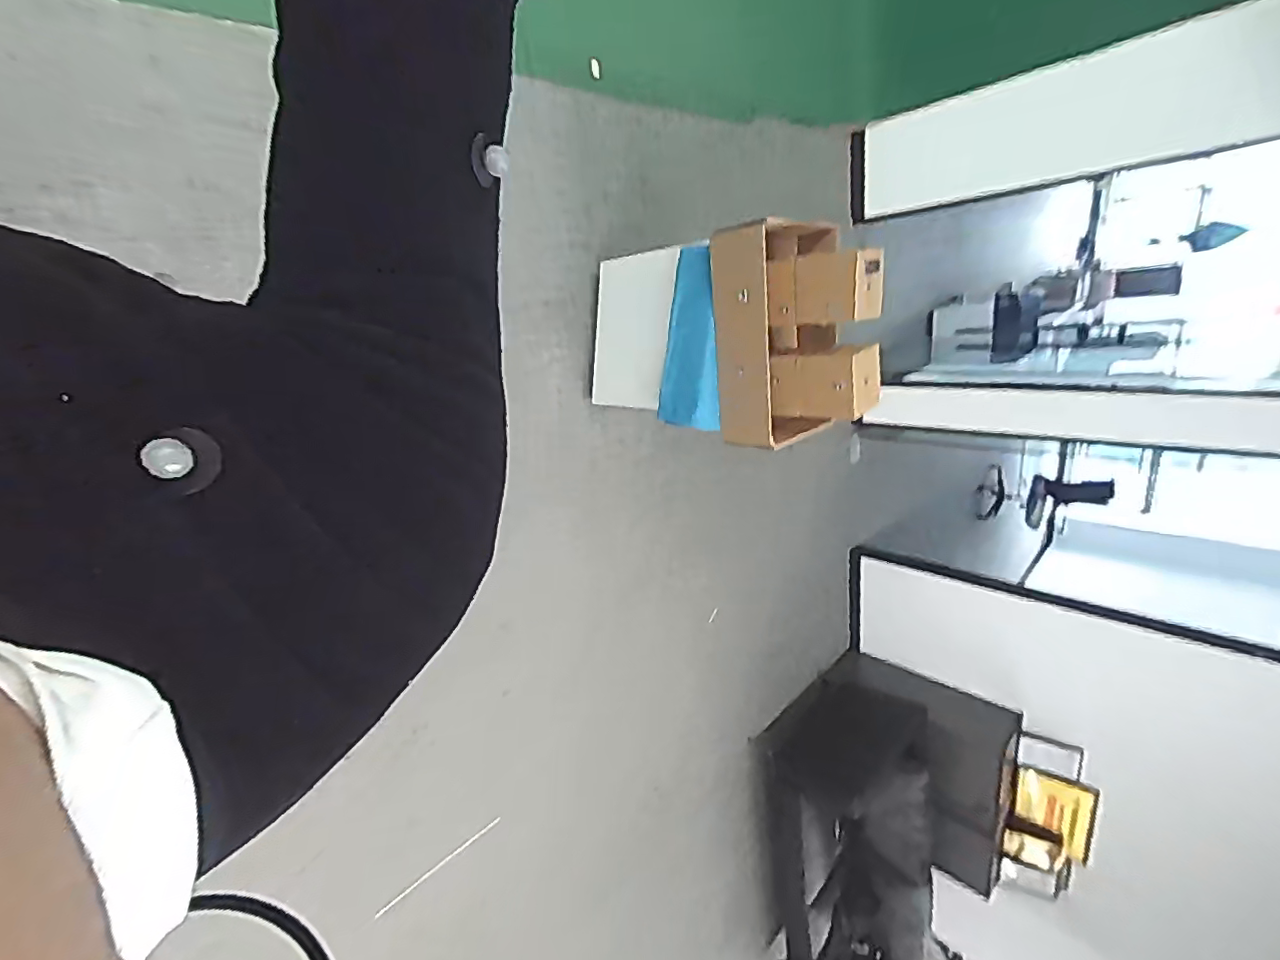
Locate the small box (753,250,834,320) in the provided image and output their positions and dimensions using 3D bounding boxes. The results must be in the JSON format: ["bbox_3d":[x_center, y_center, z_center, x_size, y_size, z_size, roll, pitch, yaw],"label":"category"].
[{"bbox_3d":[0.439,-0.559,1.556,0.168,0.176,0.179,-22,116,-39],"label":"small box"}]

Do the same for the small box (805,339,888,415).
[{"bbox_3d":[0.575,-0.290,1.515,0.168,0.176,0.179,-26,117,-37],"label":"small box"}]

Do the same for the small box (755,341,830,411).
[{"bbox_3d":[0.461,-0.313,1.630,0.168,0.176,0.179,-26,115,-38],"label":"small box"}]
